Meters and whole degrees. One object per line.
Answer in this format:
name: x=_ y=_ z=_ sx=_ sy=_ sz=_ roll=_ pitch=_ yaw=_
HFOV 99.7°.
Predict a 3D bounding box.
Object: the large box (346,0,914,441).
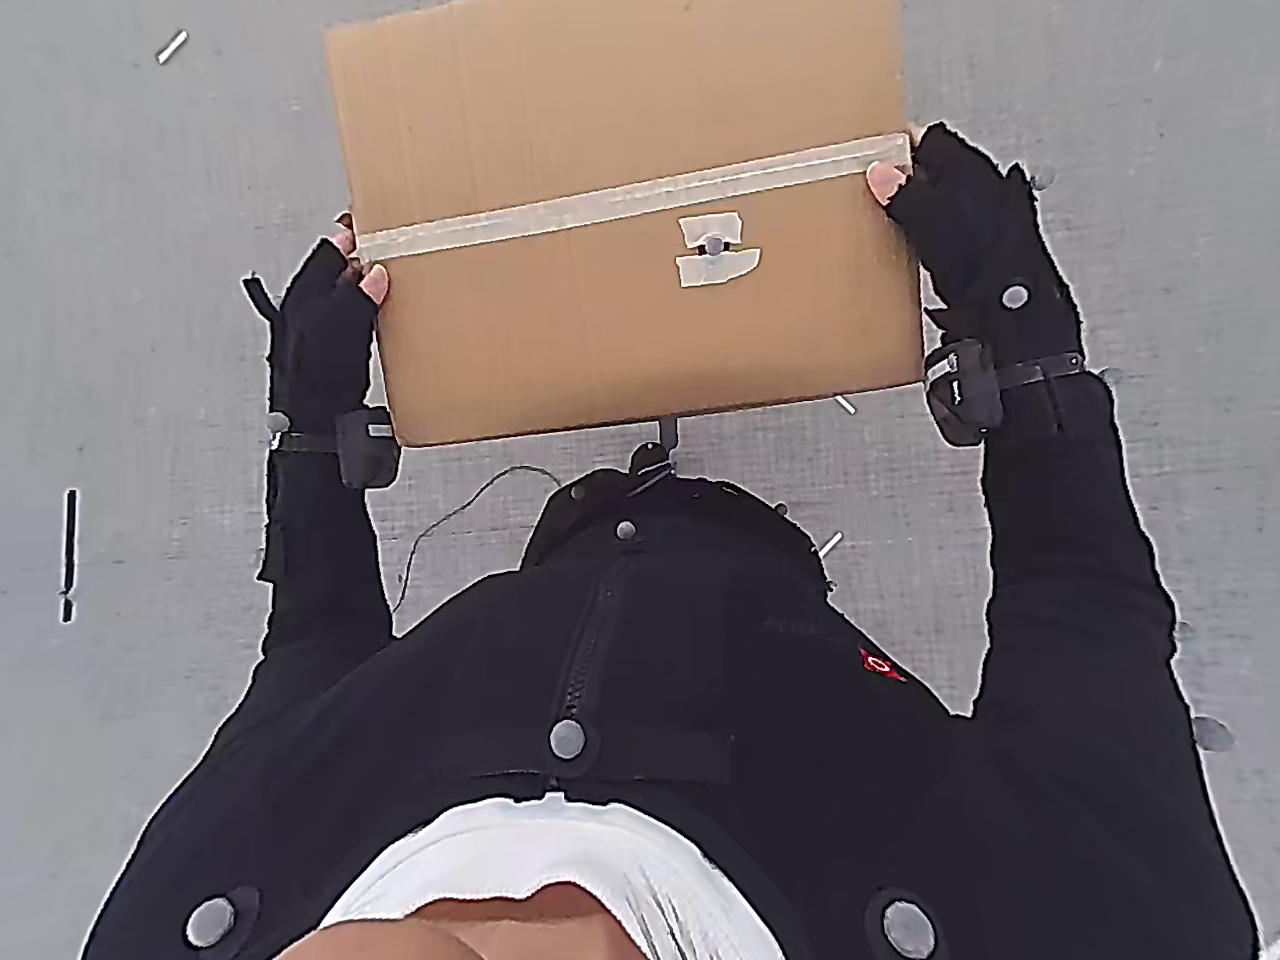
large box: x=0.001 y=-0.225 z=0.555 sx=0.408 sy=0.320 sz=0.320 roll=-7 pitch=97 yaw=7
